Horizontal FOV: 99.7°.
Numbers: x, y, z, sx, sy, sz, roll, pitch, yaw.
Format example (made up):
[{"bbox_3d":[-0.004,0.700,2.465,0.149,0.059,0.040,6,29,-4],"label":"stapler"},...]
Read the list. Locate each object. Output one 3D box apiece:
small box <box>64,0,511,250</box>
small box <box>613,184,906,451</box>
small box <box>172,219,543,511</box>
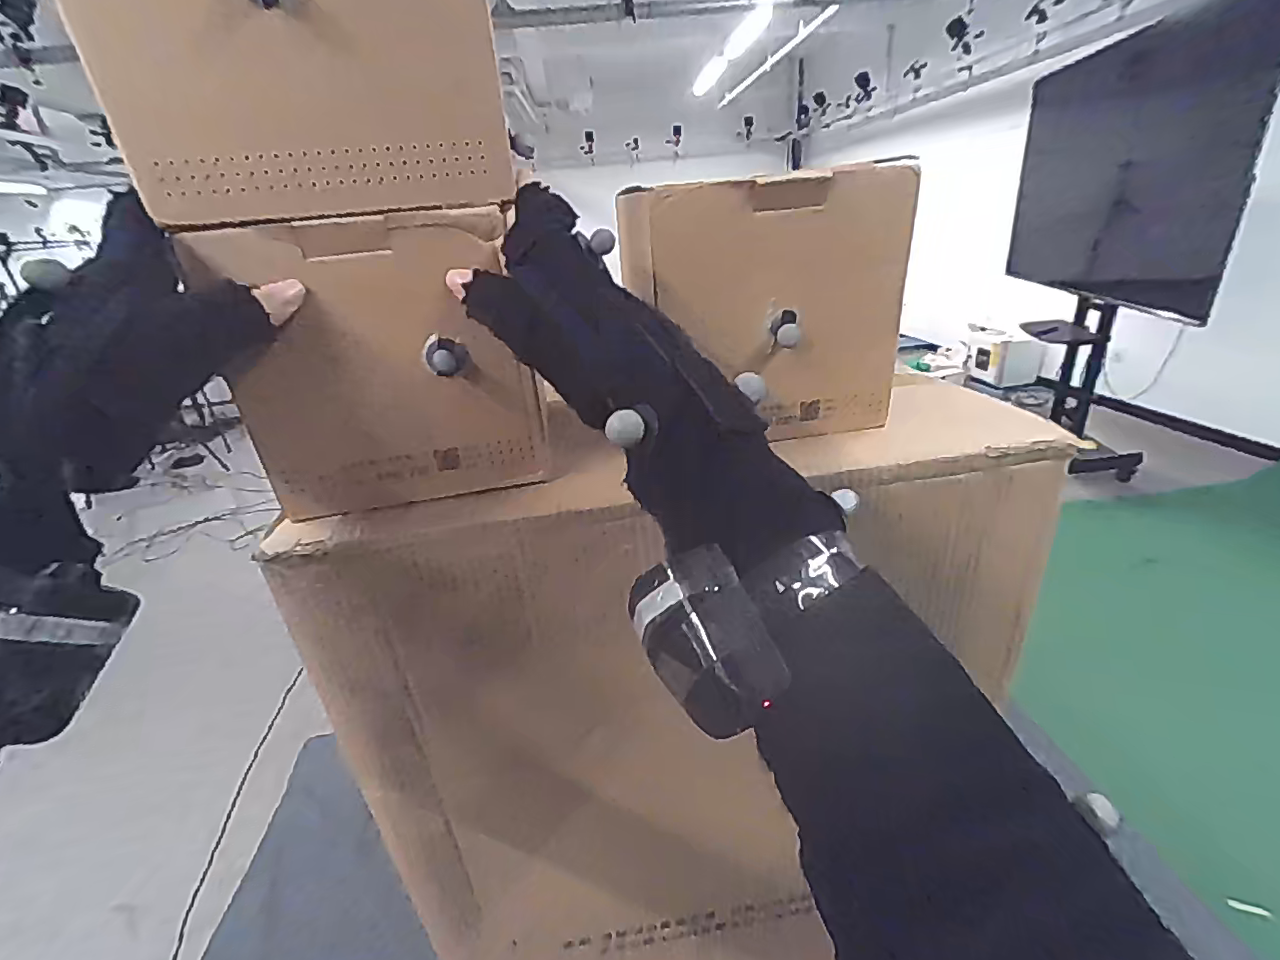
[{"bbox_3d":[-0.173,-0.231,0.311,0.179,0.176,0.168,-10,28,-13],"label":"small box"},{"bbox_3d":[0.074,-0.128,0.423,0.168,0.176,0.179,-7,28,-6],"label":"small box"},{"bbox_3d":[-0.164,-0.086,0.389,0.168,0.176,0.179,-8,26,-8],"label":"small box"}]
